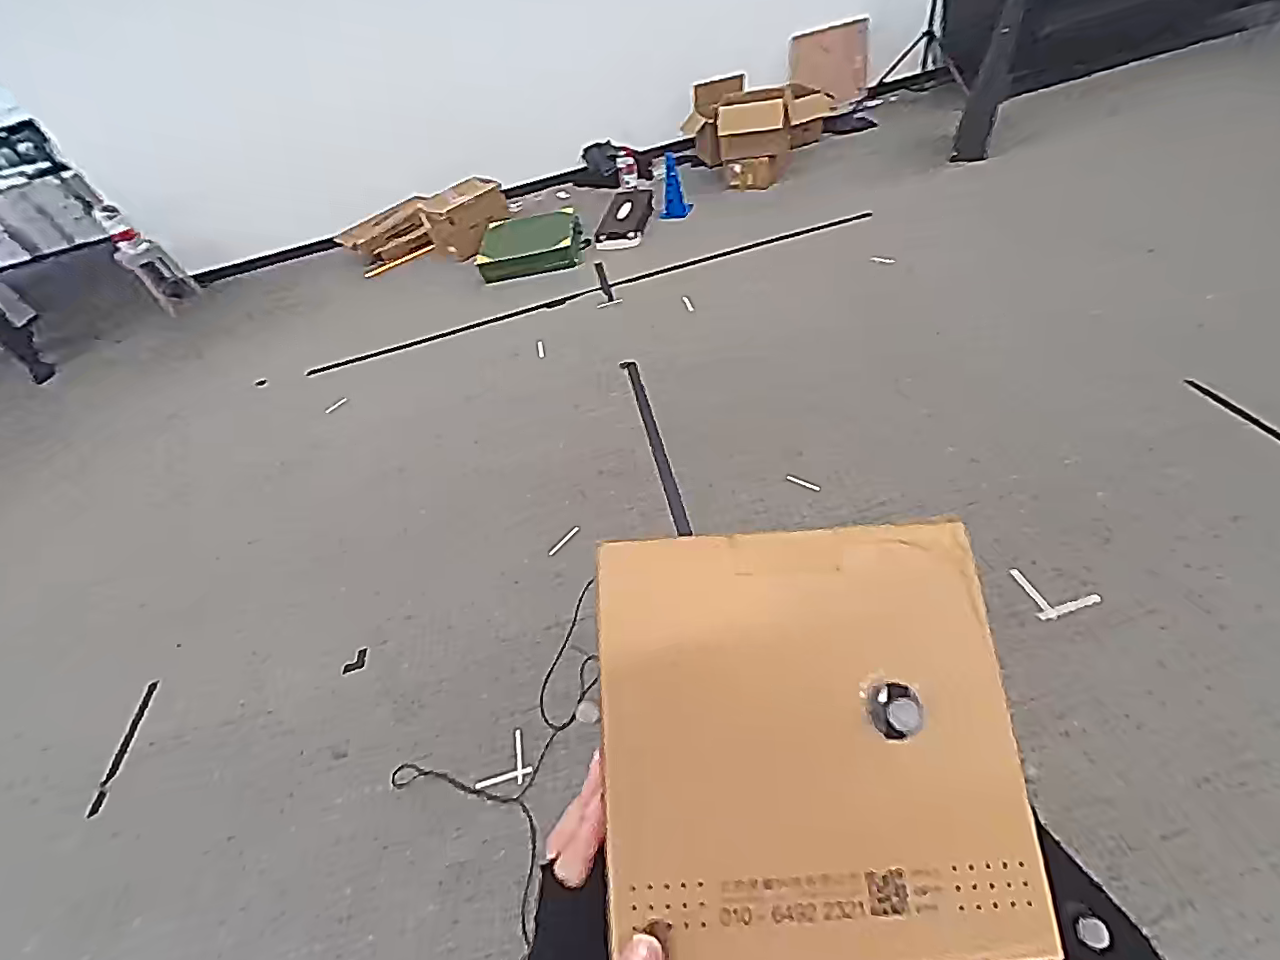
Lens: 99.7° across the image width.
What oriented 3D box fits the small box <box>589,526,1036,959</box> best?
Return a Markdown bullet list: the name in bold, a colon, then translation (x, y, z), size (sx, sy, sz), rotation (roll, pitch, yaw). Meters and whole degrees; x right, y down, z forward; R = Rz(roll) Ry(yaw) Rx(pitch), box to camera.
- **small box**: translation (0.070, 0.130, 0.299), size (0.168, 0.179, 0.176), rotation (-5, 74, 2)
